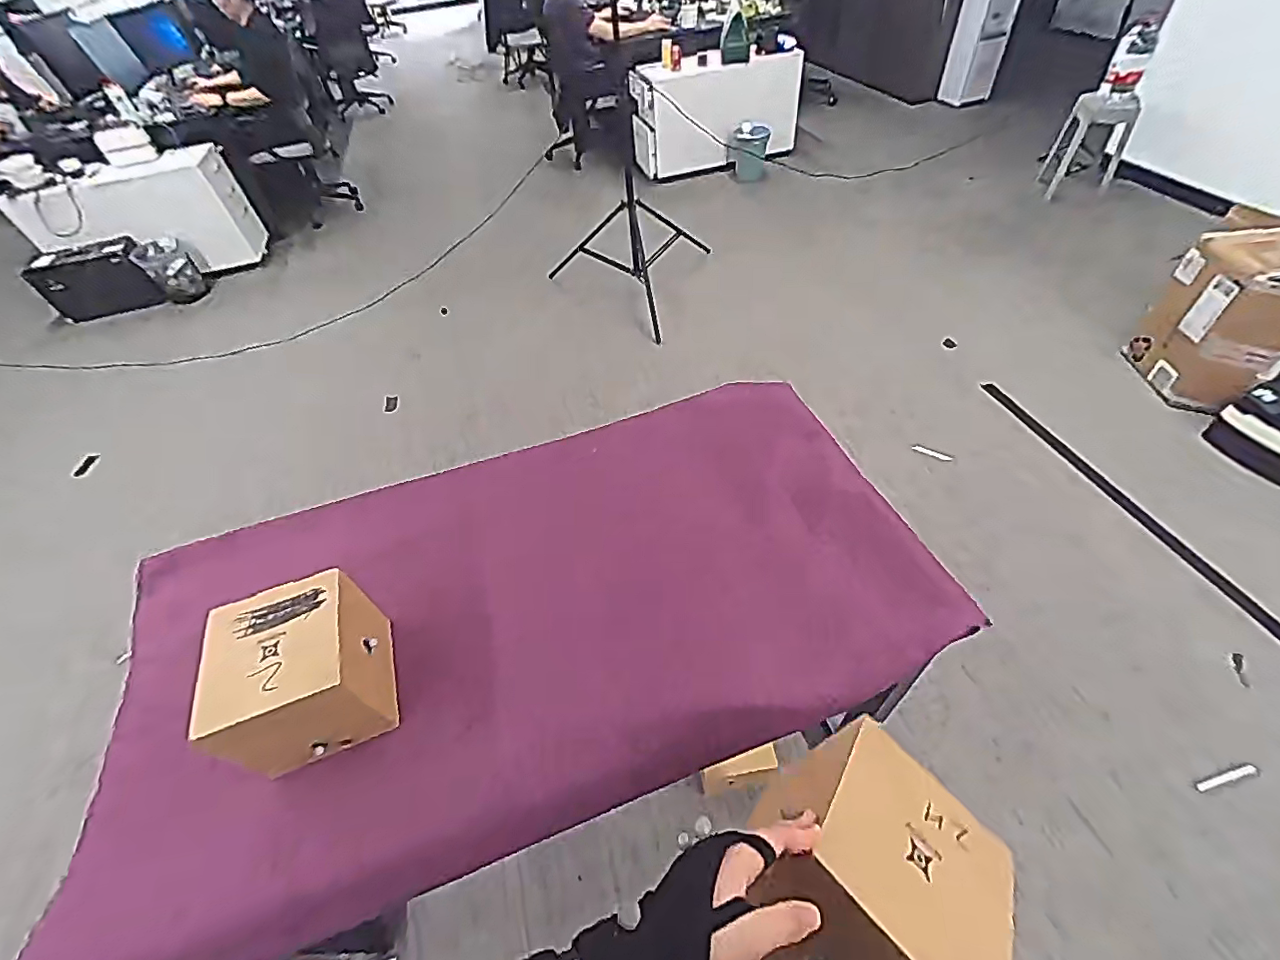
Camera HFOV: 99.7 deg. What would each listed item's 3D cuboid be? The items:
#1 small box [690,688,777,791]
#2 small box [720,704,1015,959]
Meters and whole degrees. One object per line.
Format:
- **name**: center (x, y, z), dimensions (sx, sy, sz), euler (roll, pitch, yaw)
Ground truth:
- **small box**: center (0.220, 0.629, 1.299), dimensions (0.168, 0.176, 0.179), euler (-10, 48, -2)
- **small box**: center (0.199, 0.354, 0.493), dimensions (0.168, 0.176, 0.179), euler (43, 37, 15)
